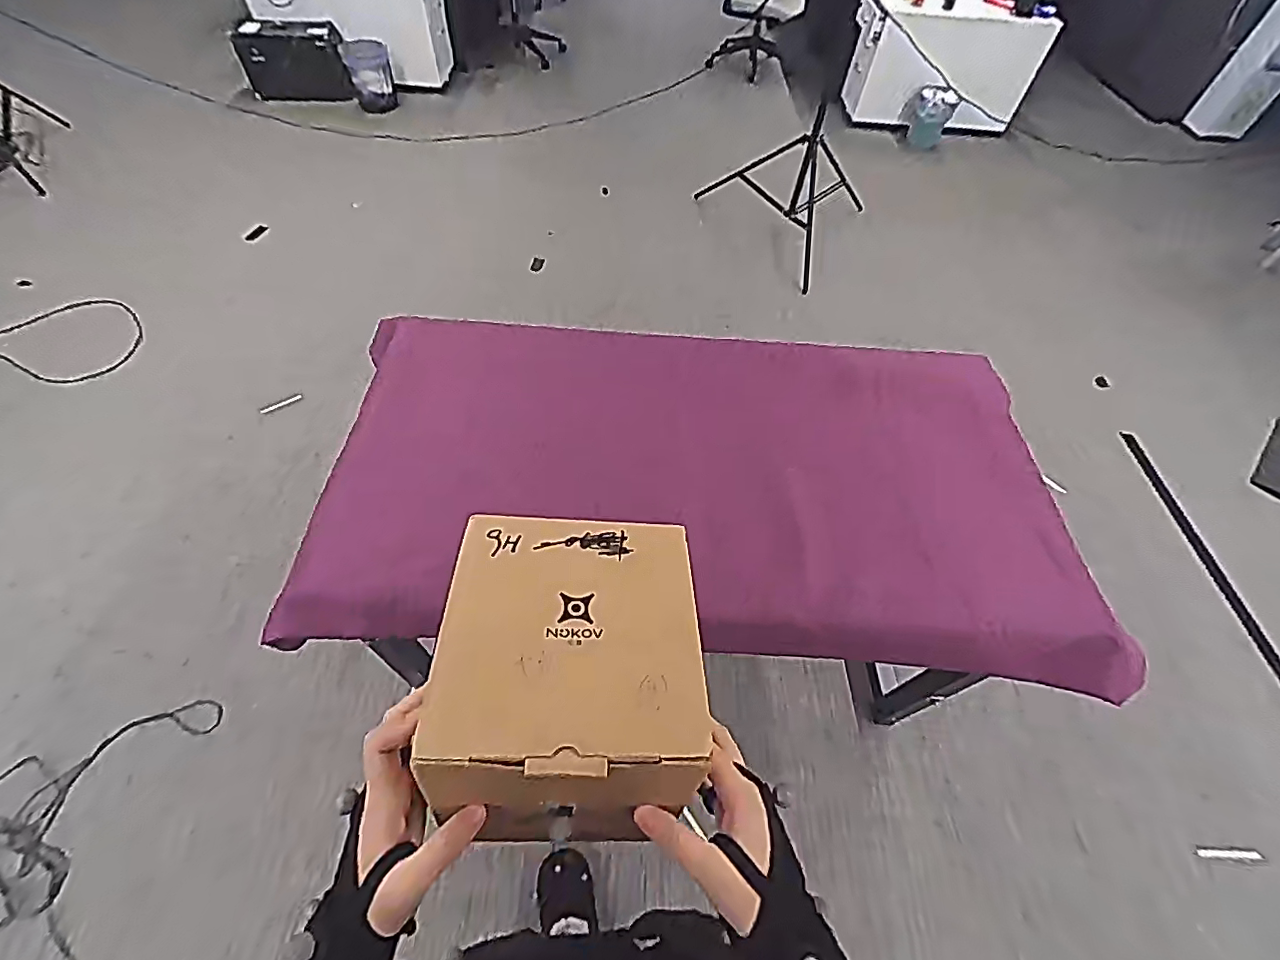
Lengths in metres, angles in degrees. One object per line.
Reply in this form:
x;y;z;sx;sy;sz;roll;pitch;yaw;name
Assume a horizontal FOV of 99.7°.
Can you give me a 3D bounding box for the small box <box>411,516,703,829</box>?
-0.055;0.150;0.412;0.168;0.176;0.179;4;44;-7;small box
